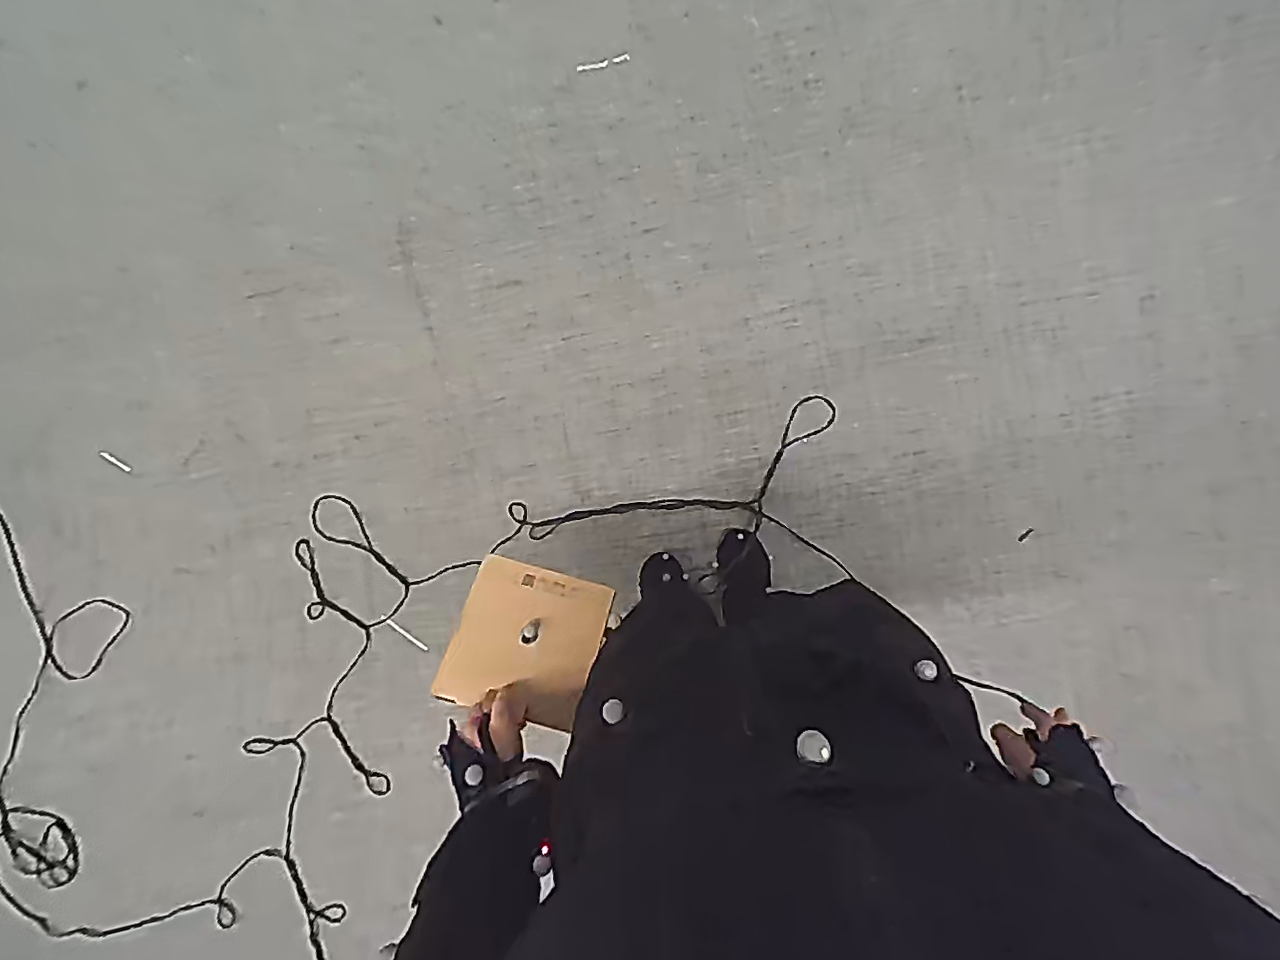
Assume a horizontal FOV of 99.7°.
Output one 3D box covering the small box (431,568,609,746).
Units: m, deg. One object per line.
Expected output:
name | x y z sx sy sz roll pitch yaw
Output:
small box | -0.143 0.228 0.692 0.168 0.179 0.176 17 62 -1
